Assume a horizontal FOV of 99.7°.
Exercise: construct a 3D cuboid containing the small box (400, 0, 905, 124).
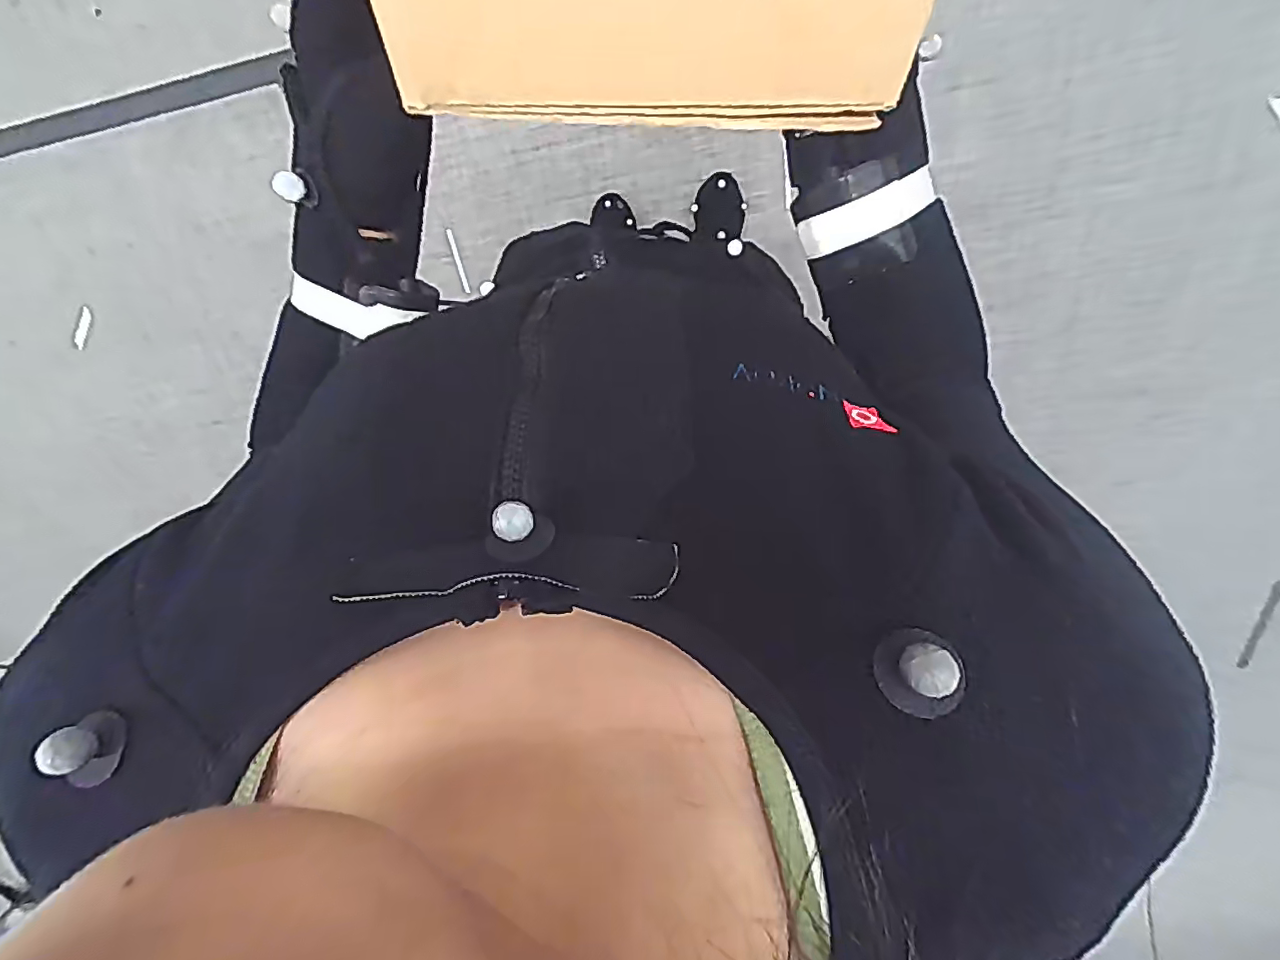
[{"bbox_3d":[0.002,-0.245,0.167,0.179,0.168,0.176,-1,149,-1],"label":"small box"}]
